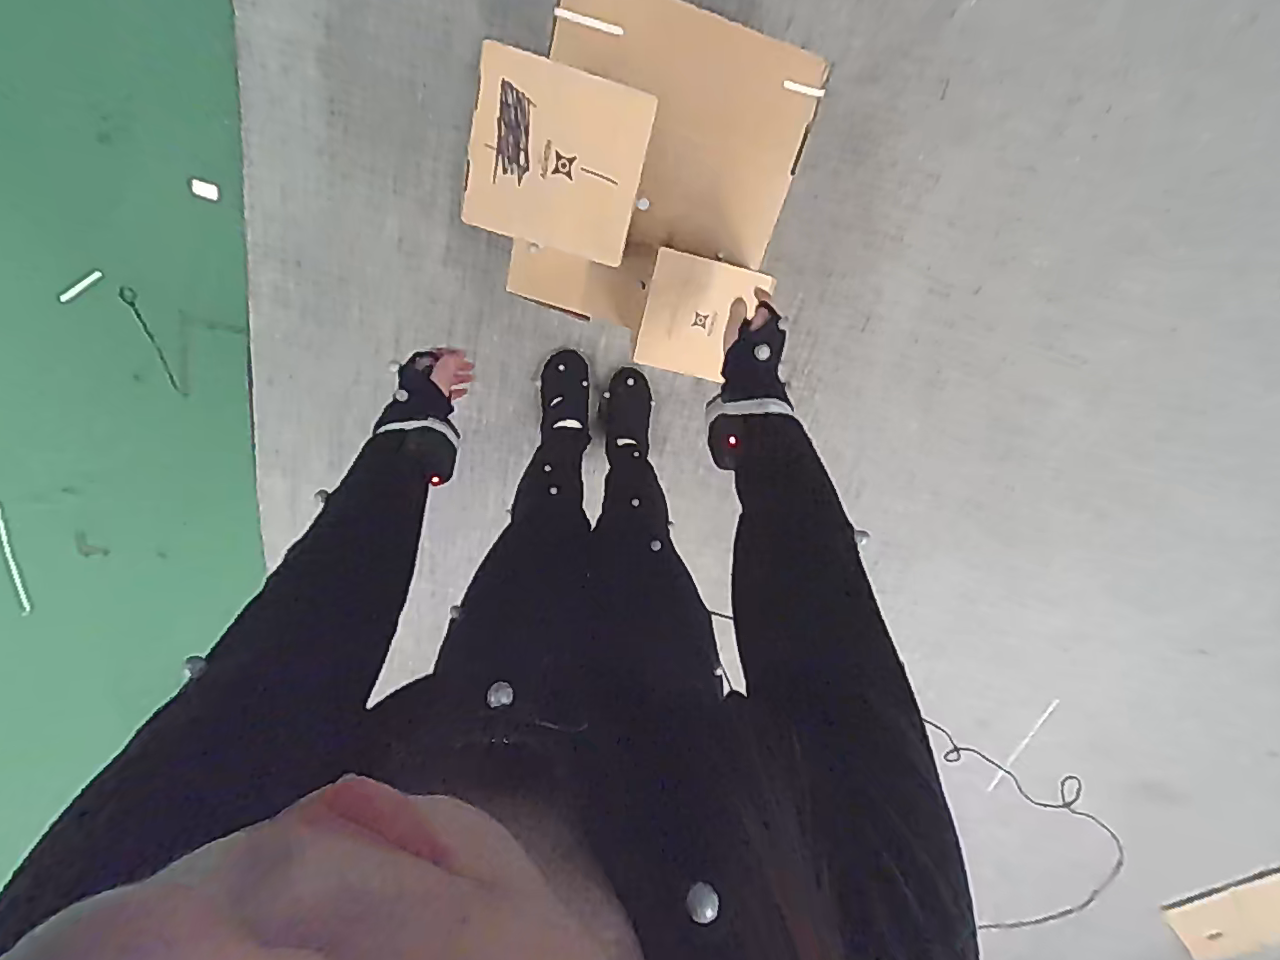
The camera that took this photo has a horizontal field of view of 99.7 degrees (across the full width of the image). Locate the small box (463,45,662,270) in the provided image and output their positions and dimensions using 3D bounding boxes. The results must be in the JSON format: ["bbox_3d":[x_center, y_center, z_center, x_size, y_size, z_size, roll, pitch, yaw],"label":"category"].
[{"bbox_3d":[-0.085,-0.352,0.625,0.179,0.176,0.168,13,113,-8],"label":"small box"}]

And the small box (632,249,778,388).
[{"bbox_3d":[0.090,-0.261,0.856,0.179,0.176,0.168,12,113,-8],"label":"small box"}]
